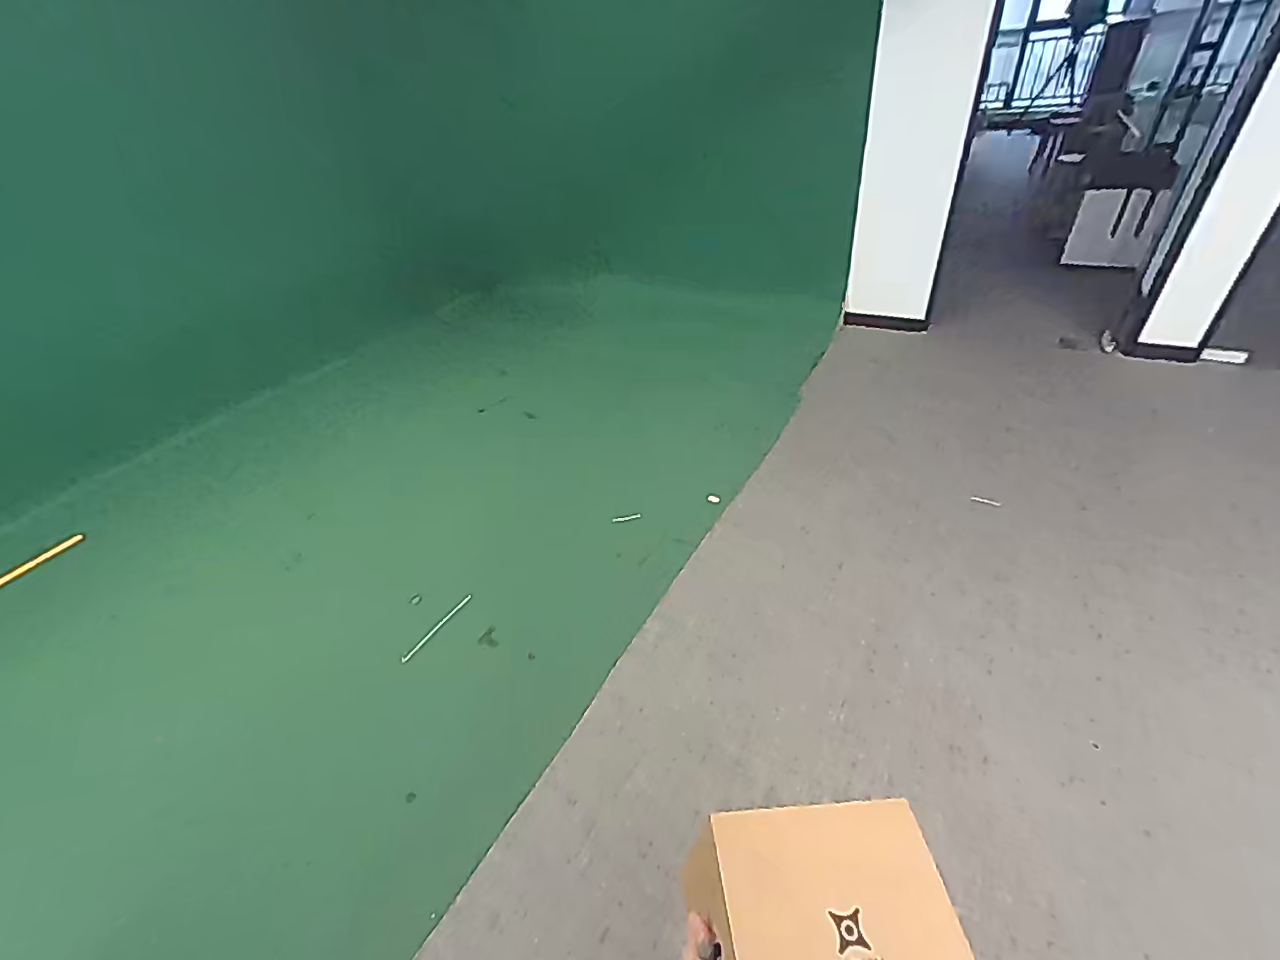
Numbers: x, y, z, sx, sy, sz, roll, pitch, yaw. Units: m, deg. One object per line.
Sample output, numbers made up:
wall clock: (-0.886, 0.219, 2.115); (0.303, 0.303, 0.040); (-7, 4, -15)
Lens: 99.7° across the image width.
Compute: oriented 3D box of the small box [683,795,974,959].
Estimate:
small box: (0.133, 0.371, 0.414); (0.168, 0.176, 0.179); (0, 41, -7)
